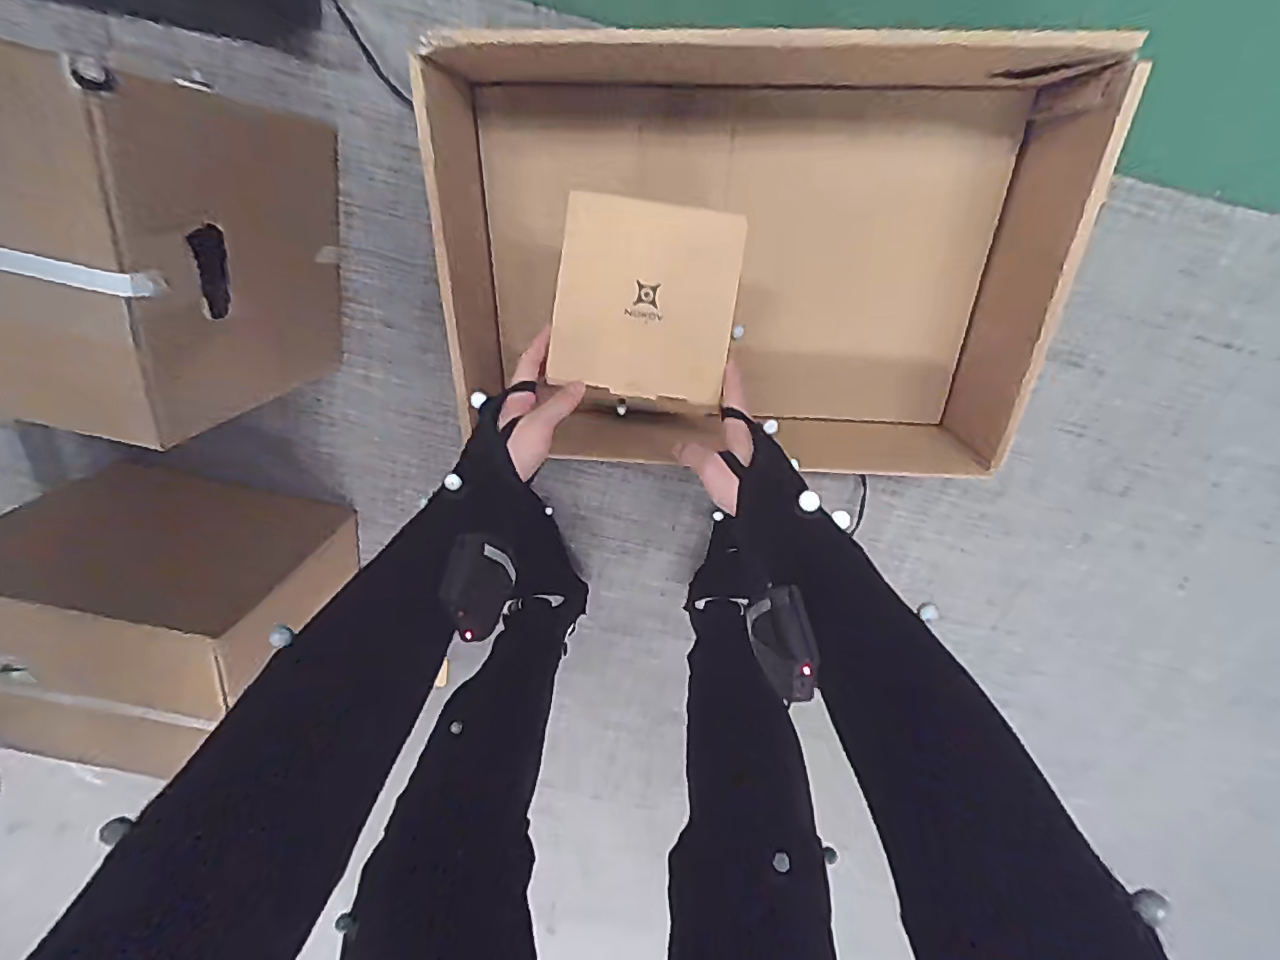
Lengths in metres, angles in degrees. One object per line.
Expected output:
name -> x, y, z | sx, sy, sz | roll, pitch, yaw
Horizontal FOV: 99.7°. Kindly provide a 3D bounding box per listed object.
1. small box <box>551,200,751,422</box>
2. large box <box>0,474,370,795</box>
small box -> 0.008, -0.163, 0.577 | 0.168, 0.176, 0.179 | 8, 93, -1
large box -> -0.699, 0.217, 0.840 | 0.408, 0.320, 0.320 | 11, 115, 0
